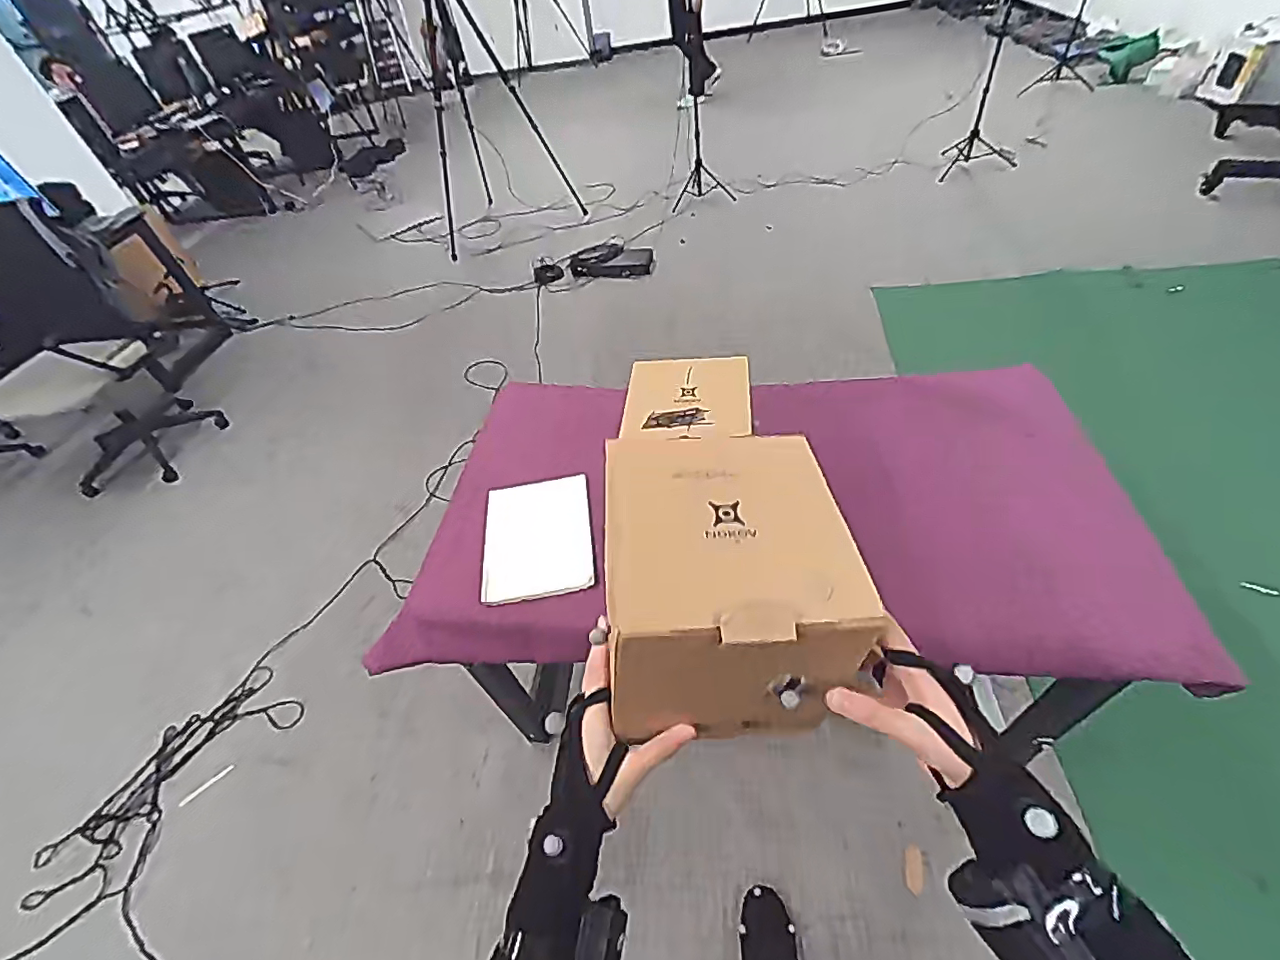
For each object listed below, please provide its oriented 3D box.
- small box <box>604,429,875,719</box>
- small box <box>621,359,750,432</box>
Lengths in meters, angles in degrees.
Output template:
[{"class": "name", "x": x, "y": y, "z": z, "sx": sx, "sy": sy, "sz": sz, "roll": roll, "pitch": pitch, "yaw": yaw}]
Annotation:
[{"class": "small box", "x": 0.056, "y": 0.078, "z": 0.437, "sx": 0.168, "sy": 0.176, "sz": 0.179, "roll": -1, "pitch": 44, "yaw": -5}, {"class": "small box", "x": 0.074, "y": -0.052, "z": 0.779, "sx": 0.168, "sy": 0.176, "sz": 0.179, "roll": 0, "pitch": 46, "yaw": 10}]
